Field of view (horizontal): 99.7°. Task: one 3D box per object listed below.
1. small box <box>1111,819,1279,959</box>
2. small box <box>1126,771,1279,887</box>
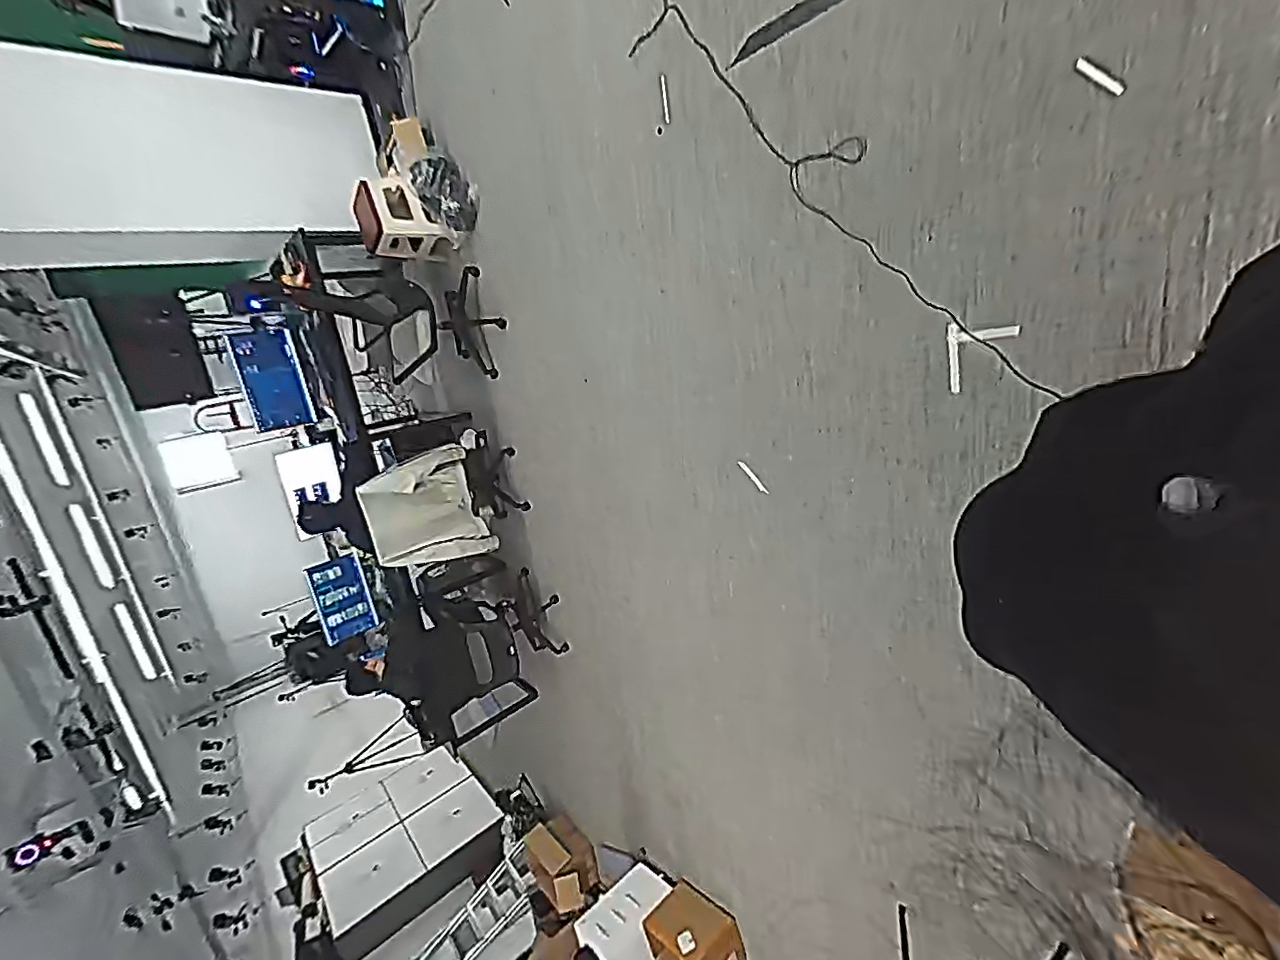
[{"bbox_3d":[0.855,0.684,0.835,0.168,0.176,0.179,5,110,51],"label":"small box"},{"bbox_3d":[0.978,0.645,0.937,0.179,0.176,0.168,6,110,51],"label":"small box"}]
